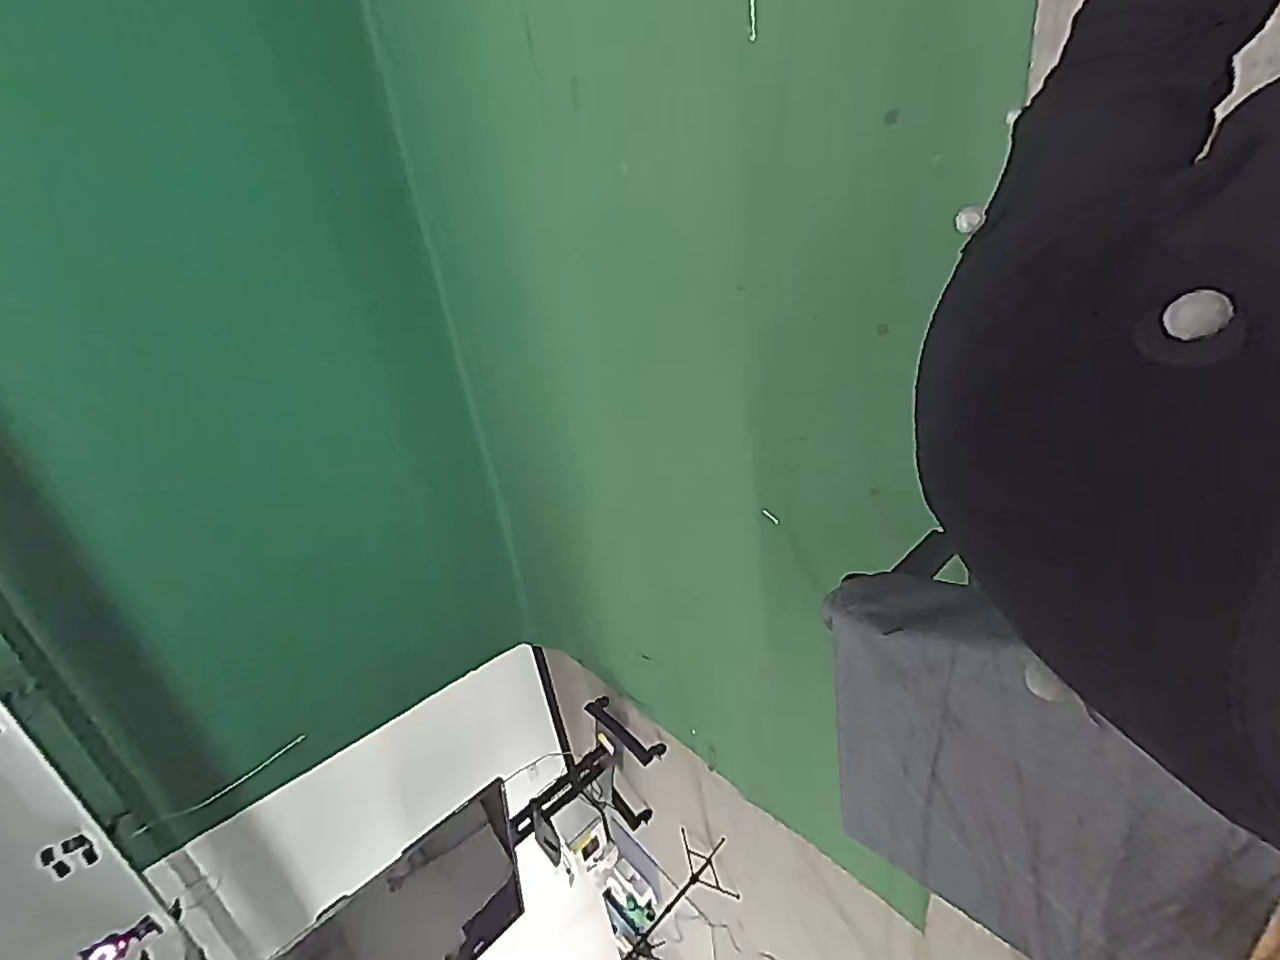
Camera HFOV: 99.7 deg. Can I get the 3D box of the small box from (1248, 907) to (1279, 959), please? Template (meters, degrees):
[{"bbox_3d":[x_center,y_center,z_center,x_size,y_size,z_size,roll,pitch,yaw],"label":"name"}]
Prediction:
[{"bbox_3d":[0.770,0.614,0.571,0.168,0.176,0.179,18,125,47],"label":"small box"}]
